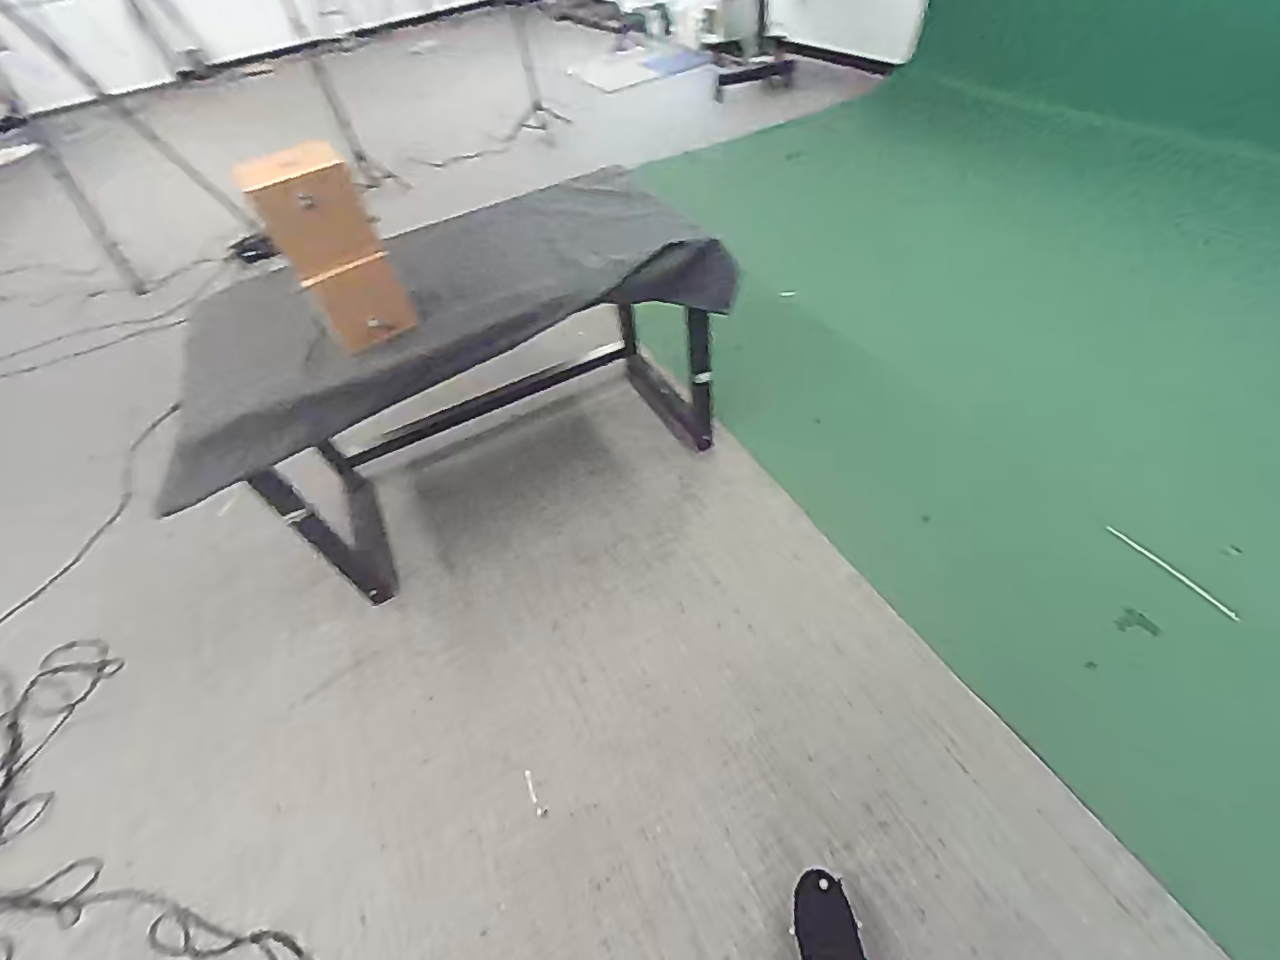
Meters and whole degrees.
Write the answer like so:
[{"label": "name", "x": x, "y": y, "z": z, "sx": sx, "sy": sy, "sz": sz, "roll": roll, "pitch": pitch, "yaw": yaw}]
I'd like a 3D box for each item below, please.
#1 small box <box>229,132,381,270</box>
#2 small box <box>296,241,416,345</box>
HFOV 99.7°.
[{"label": "small box", "x": -0.635, "y": -0.531, "z": 1.037, "sx": 0.179, "sy": 0.176, "sz": 0.168, "roll": -30, "pitch": 54, "yaw": -17}, {"label": "small box", "x": -0.613, "y": -0.417, "z": 1.151, "sx": 0.168, "sy": 0.176, "sz": 0.179, "roll": -34, "pitch": 54, "yaw": -19}]
